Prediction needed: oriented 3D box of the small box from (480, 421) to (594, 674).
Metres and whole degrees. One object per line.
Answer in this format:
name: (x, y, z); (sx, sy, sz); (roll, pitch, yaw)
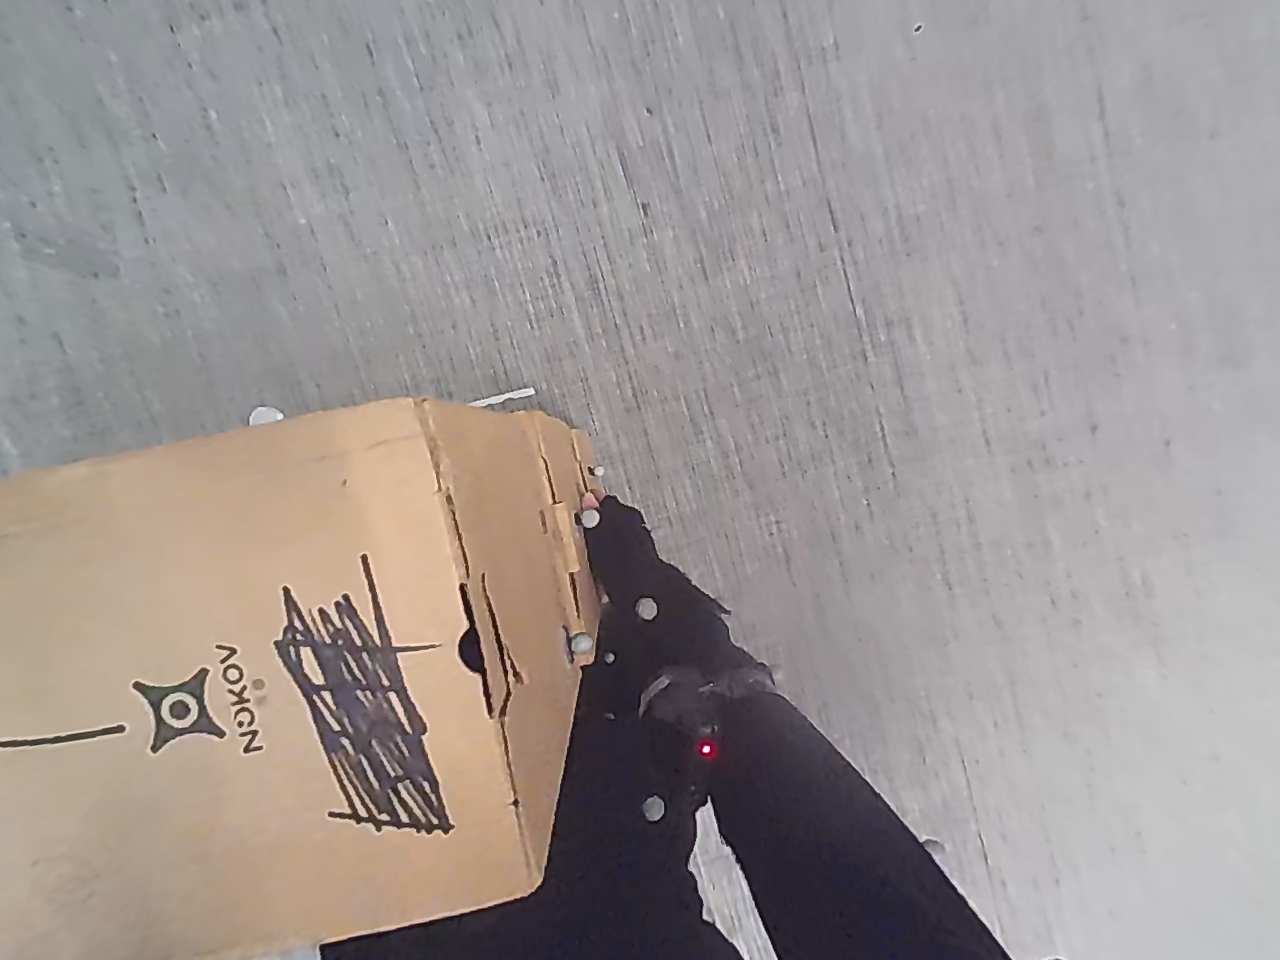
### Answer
small box: (-0.134, 0.053, 0.418); (0.179, 0.176, 0.168); (-12, 92, 0)

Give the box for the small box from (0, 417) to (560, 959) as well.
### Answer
small box: (-0.137, 0.066, 0.253); (0.179, 0.176, 0.168); (-9, 92, 0)
